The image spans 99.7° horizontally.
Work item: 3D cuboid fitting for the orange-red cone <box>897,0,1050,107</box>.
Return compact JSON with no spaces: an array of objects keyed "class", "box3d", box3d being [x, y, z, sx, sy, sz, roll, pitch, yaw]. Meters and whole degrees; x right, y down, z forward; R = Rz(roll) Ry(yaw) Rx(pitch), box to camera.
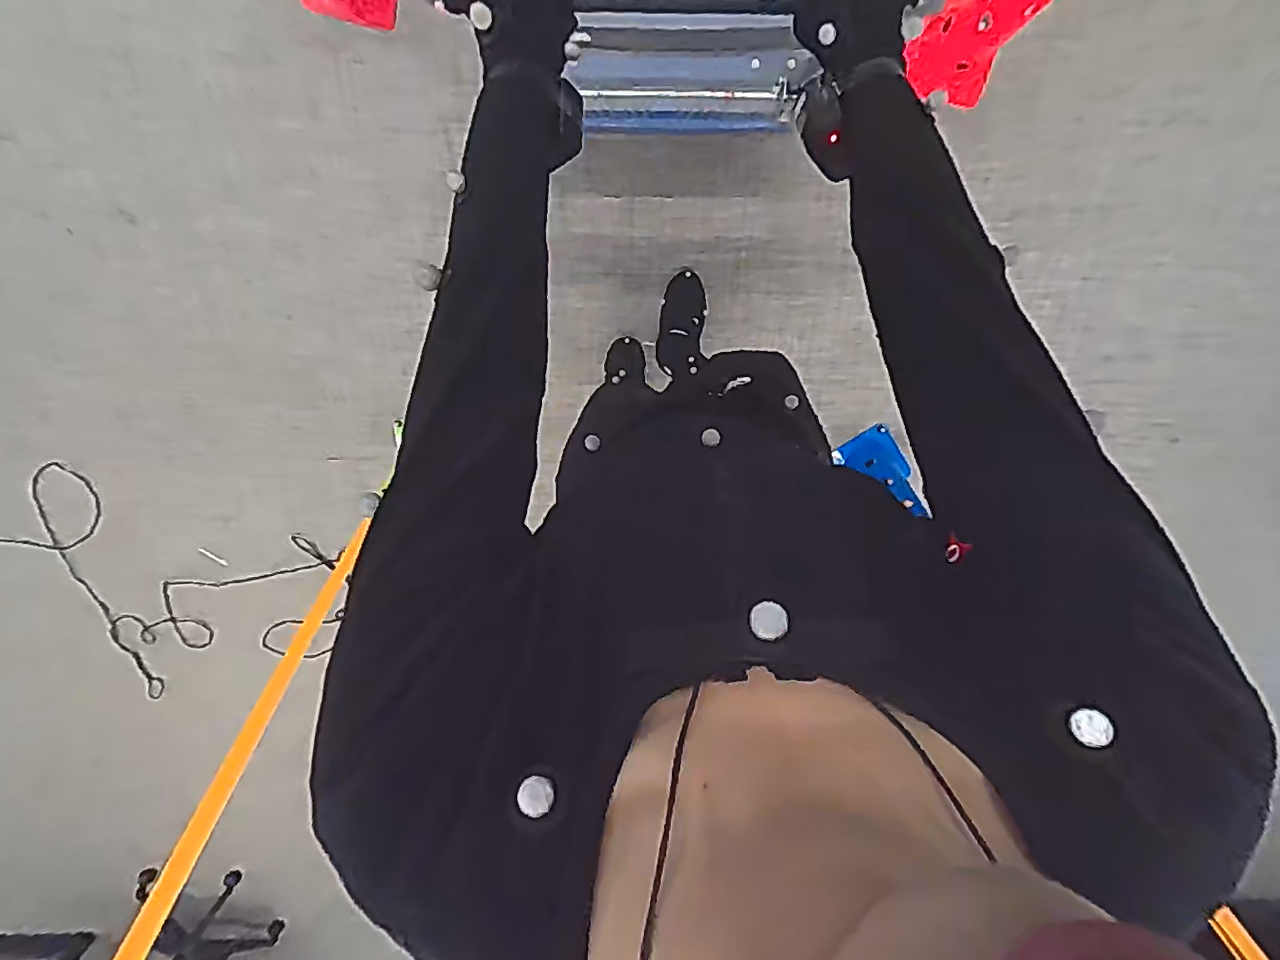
[{"class":"orange-red cone","box3d":[0.674,-0.872,1.011,0.198,0.360,0.199,11,113,-4]}]
